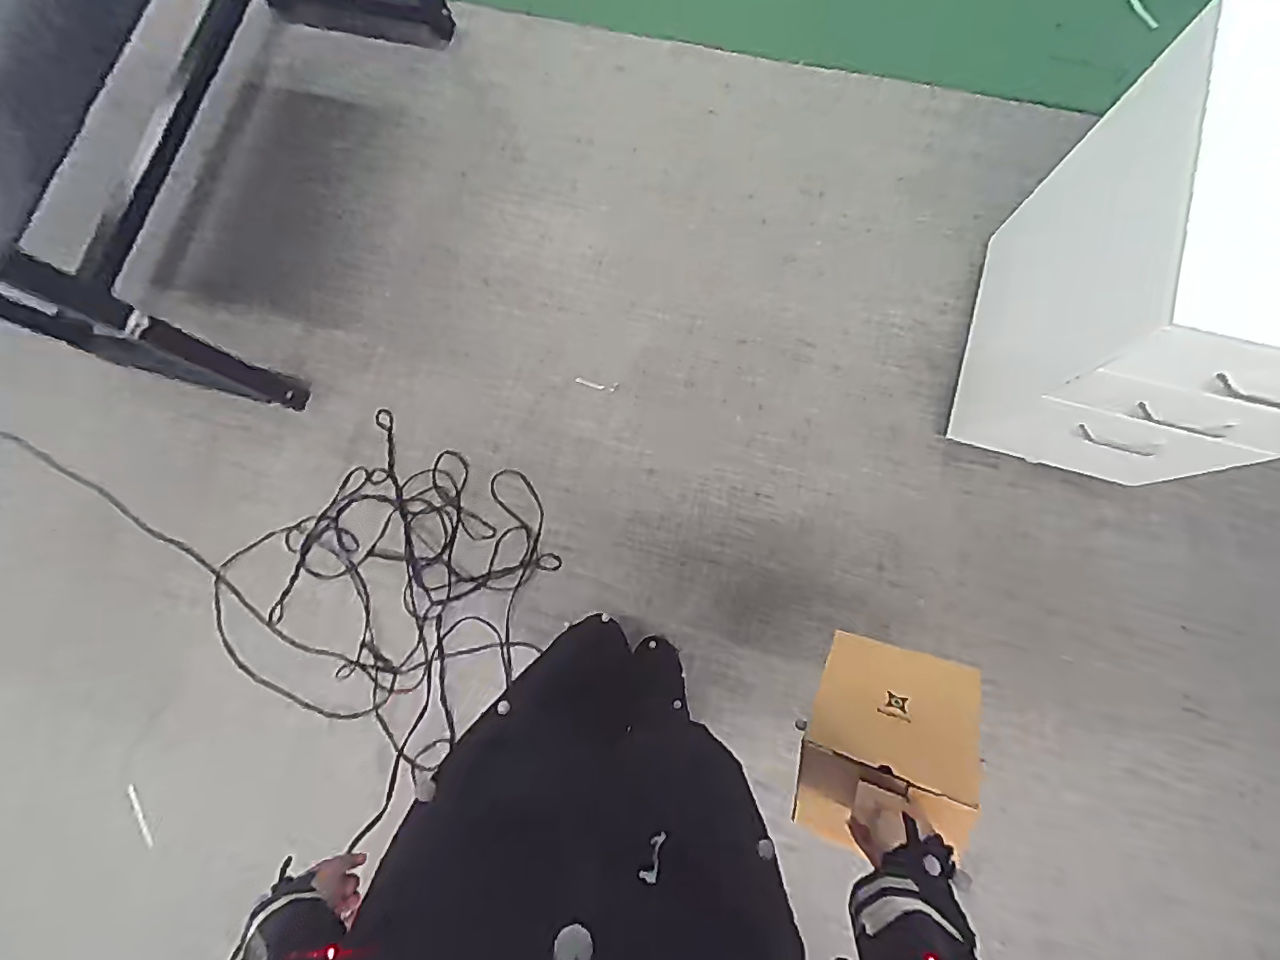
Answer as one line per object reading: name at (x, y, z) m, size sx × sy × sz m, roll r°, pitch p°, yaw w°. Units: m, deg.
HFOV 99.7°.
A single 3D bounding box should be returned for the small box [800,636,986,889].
small box at (0.296, 0.327, 0.645) m, size 0.168 × 0.176 × 0.179 m, roll 13°, pitch 36°, yaw 25°
